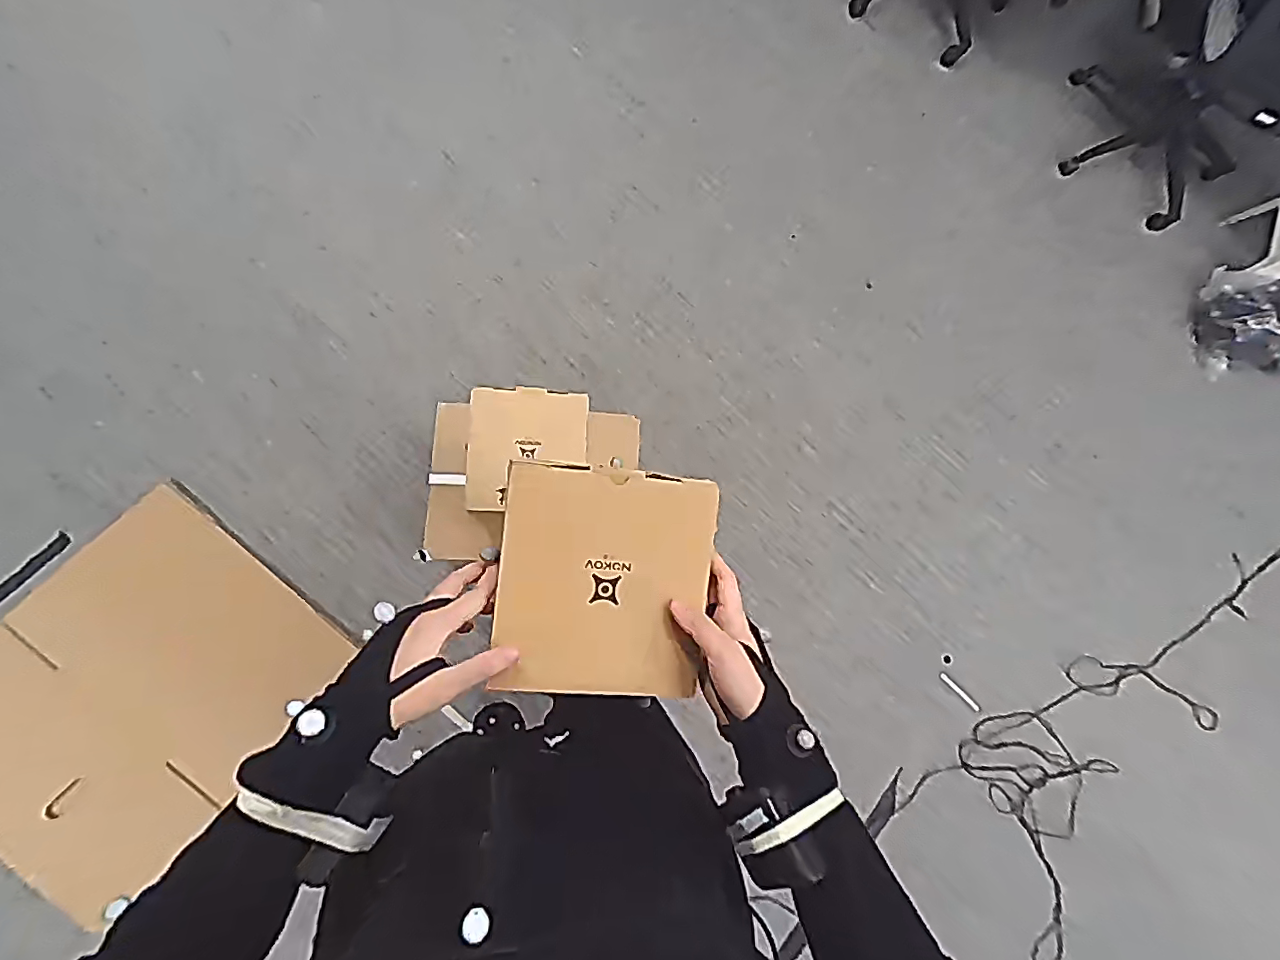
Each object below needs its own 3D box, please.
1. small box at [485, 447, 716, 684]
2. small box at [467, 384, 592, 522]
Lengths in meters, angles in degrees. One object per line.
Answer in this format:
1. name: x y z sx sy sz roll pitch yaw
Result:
1. small box: -0.041 0.068 0.499 0.168 0.176 0.179 6 89 -11
2. small box: -0.164 -0.031 0.825 0.168 0.176 0.179 2 79 -9
